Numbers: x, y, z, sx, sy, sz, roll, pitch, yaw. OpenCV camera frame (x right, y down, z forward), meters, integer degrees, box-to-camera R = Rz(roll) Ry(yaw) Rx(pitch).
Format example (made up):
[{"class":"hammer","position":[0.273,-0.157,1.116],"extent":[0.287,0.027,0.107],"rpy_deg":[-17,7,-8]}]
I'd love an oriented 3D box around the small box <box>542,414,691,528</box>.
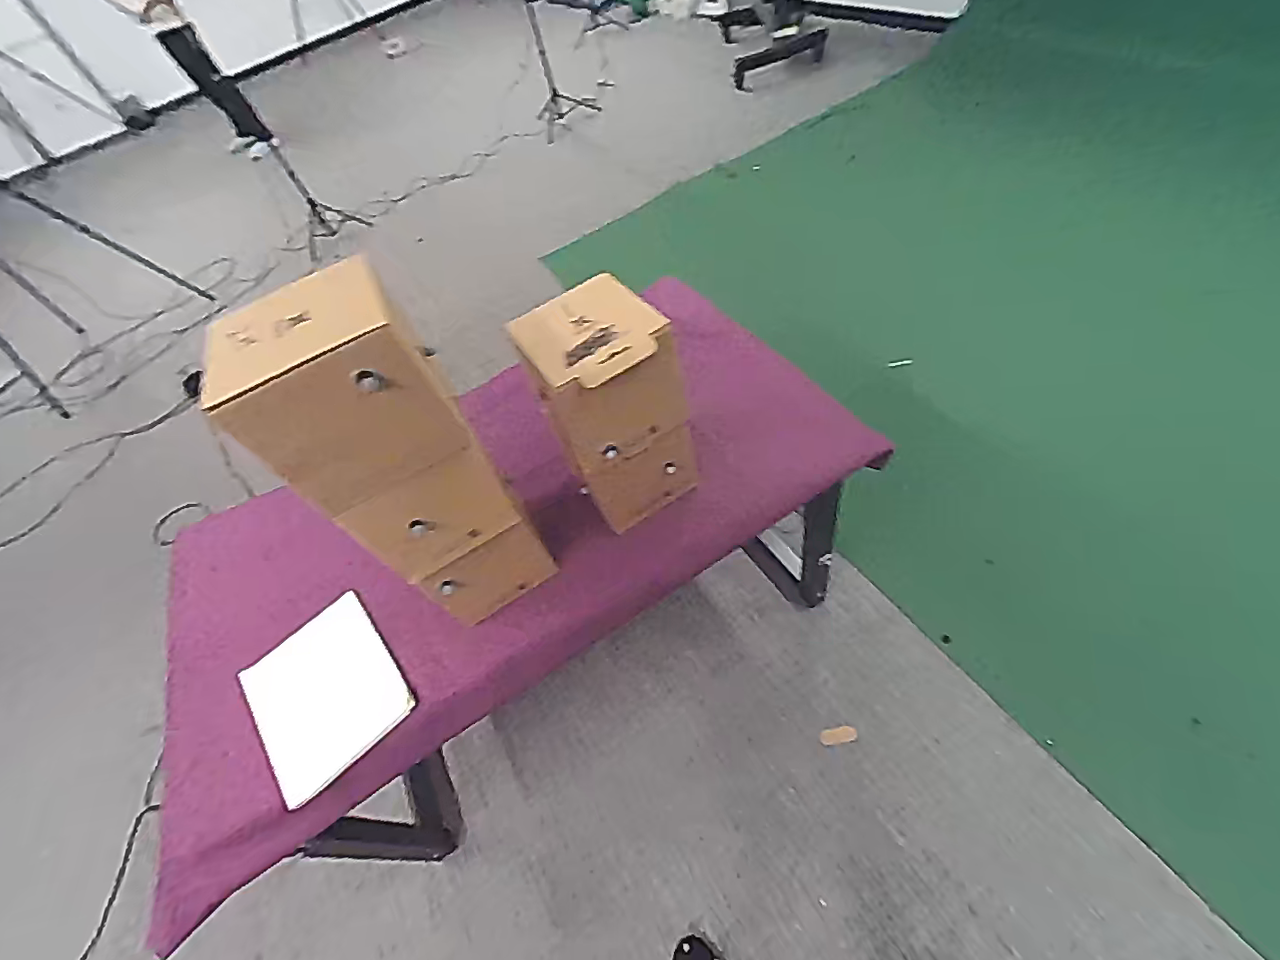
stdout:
[{"class":"small box","position":[-0.032,-0.043,0.891],"extent":[0.168,0.176,0.179],"rpy_deg":[-30,51,-10]}]

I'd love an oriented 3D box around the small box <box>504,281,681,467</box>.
[{"class":"small box","position":[-0.060,-0.141,0.762],"extent":[0.168,0.176,0.179],"rpy_deg":[-31,51,-11]}]

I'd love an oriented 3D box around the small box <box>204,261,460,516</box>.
[{"class":"small box","position":[-0.315,-0.095,0.583],"extent":[0.179,0.176,0.168],"rpy_deg":[-30,51,-7]}]

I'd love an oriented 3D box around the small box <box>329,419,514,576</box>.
[{"class":"small box","position":[-0.291,0.003,0.714],"extent":[0.168,0.176,0.179],"rpy_deg":[-31,51,-9]}]
